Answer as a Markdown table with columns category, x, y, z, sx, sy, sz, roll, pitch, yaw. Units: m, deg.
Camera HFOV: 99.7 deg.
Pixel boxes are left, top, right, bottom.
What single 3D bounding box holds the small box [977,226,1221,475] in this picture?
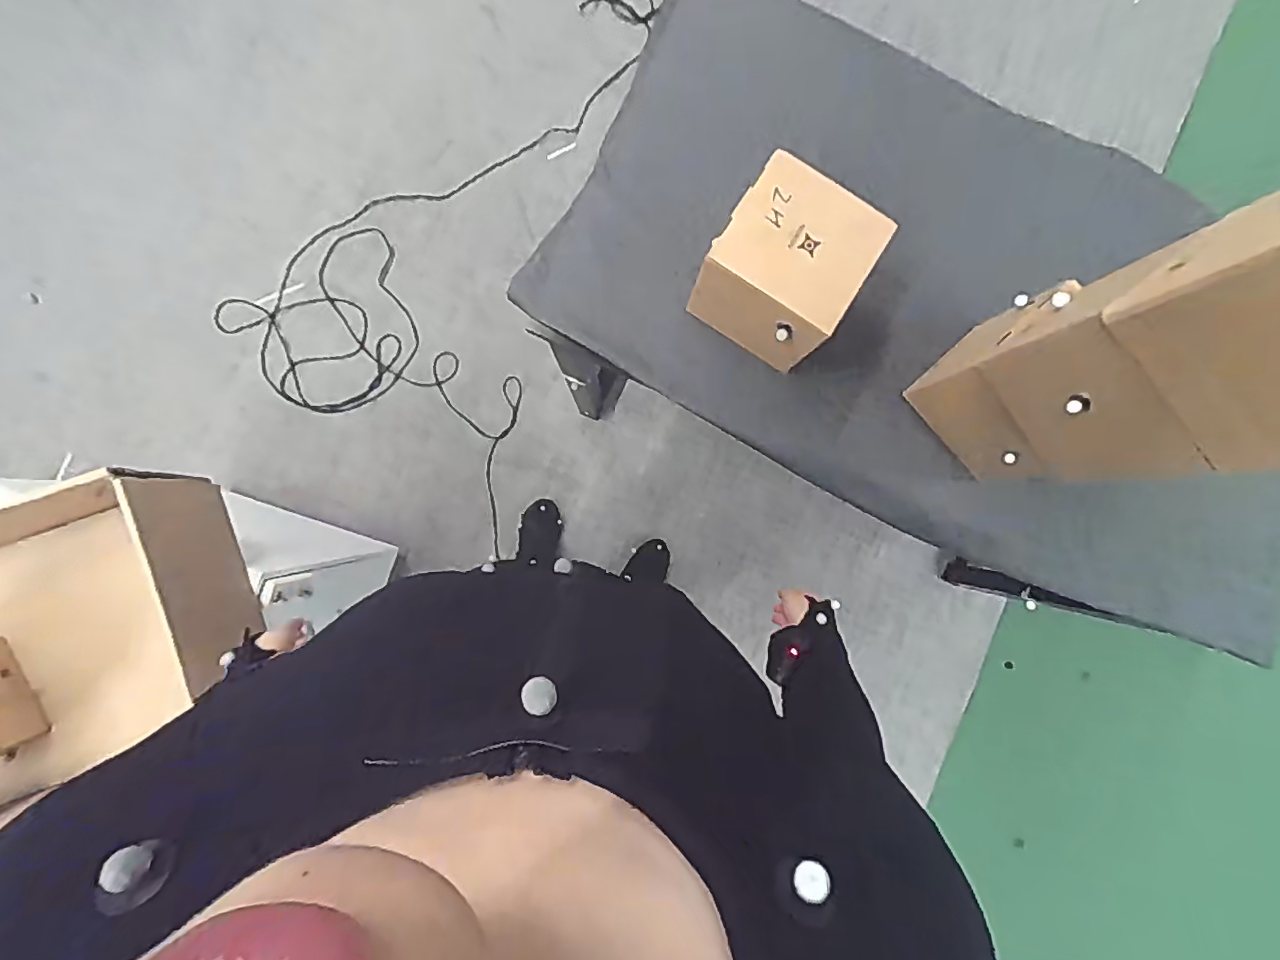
| category | x | y | z | sx | sy | sz | roll | pitch | yaw |
| --- | --- | --- | --- | --- | --- | --- | --- | --- | --- |
| small box | 0.505 | -0.117 | 0.557 | 0.168 | 0.176 | 0.179 | -34 | 88 | -5 |

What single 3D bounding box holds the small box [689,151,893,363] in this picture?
| category | x | y | z | sx | sy | sz | roll | pitch | yaw |
| --- | --- | --- | --- | --- | --- | --- | --- | --- | --- |
| small box | 0.185 | -0.275 | 0.718 | 0.179 | 0.176 | 0.168 | 33 | 85 | 0 |

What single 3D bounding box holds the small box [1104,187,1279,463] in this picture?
| category | x | y | z | sx | sy | sz | roll | pitch | yaw |
| --- | --- | --- | --- | --- | --- | --- | --- | --- | --- |
| small box | 0.510 | -0.129 | 0.394 | 0.168 | 0.176 | 0.179 | -36 | 89 | -5 |
